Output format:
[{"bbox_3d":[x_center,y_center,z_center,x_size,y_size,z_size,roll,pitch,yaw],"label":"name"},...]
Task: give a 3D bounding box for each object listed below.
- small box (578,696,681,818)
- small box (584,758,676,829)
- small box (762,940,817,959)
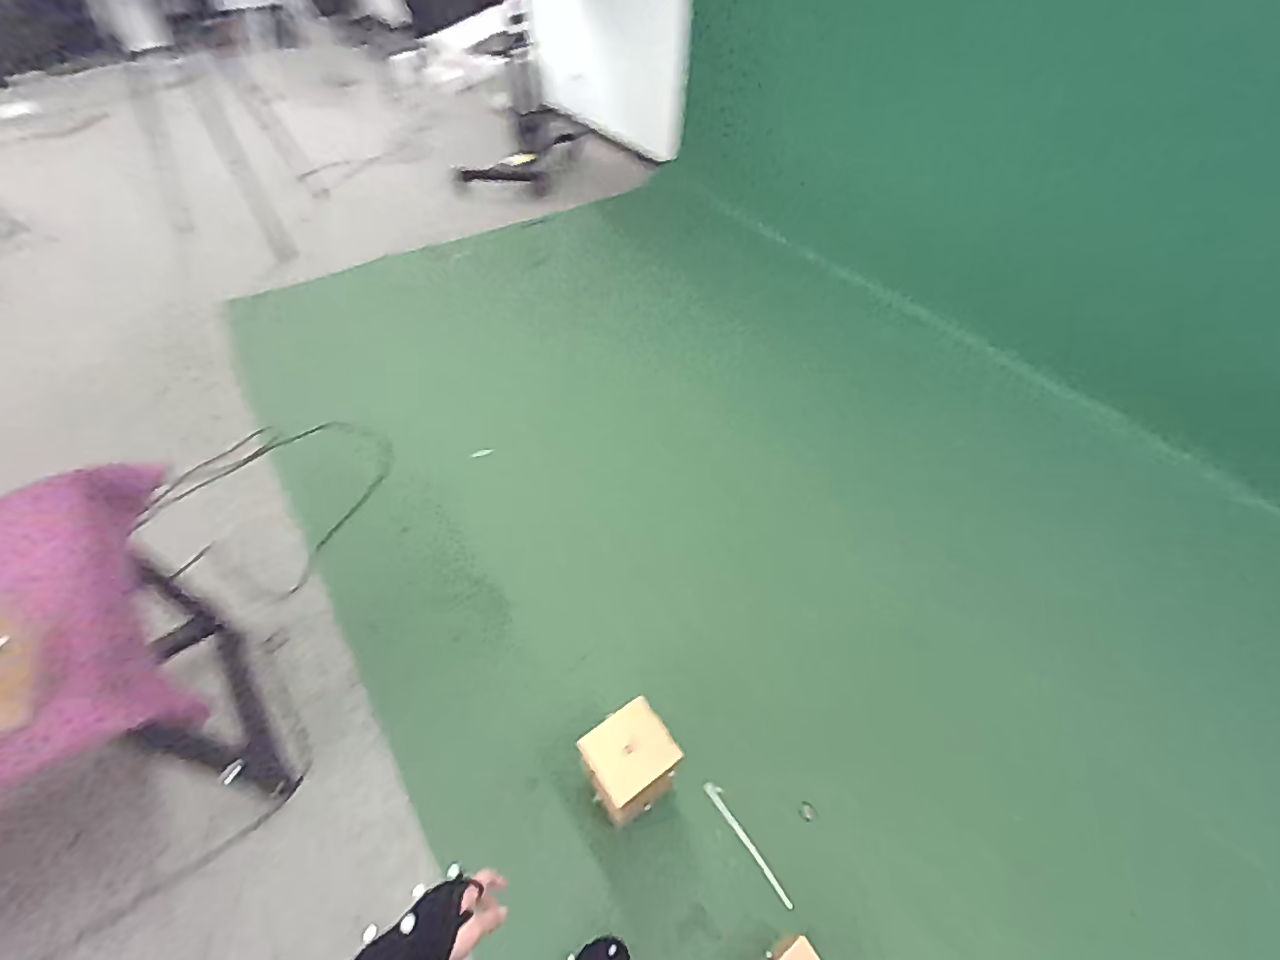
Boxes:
[{"bbox_3d":[-0.024,0.649,1.259,0.179,0.176,0.168,-27,55,-24],"label":"small box"},{"bbox_3d":[-0.028,0.752,1.383,0.179,0.176,0.168,-28,55,-23],"label":"small box"},{"bbox_3d":[0.307,1.088,1.108,0.179,0.176,0.168,-26,55,-21],"label":"small box"}]
